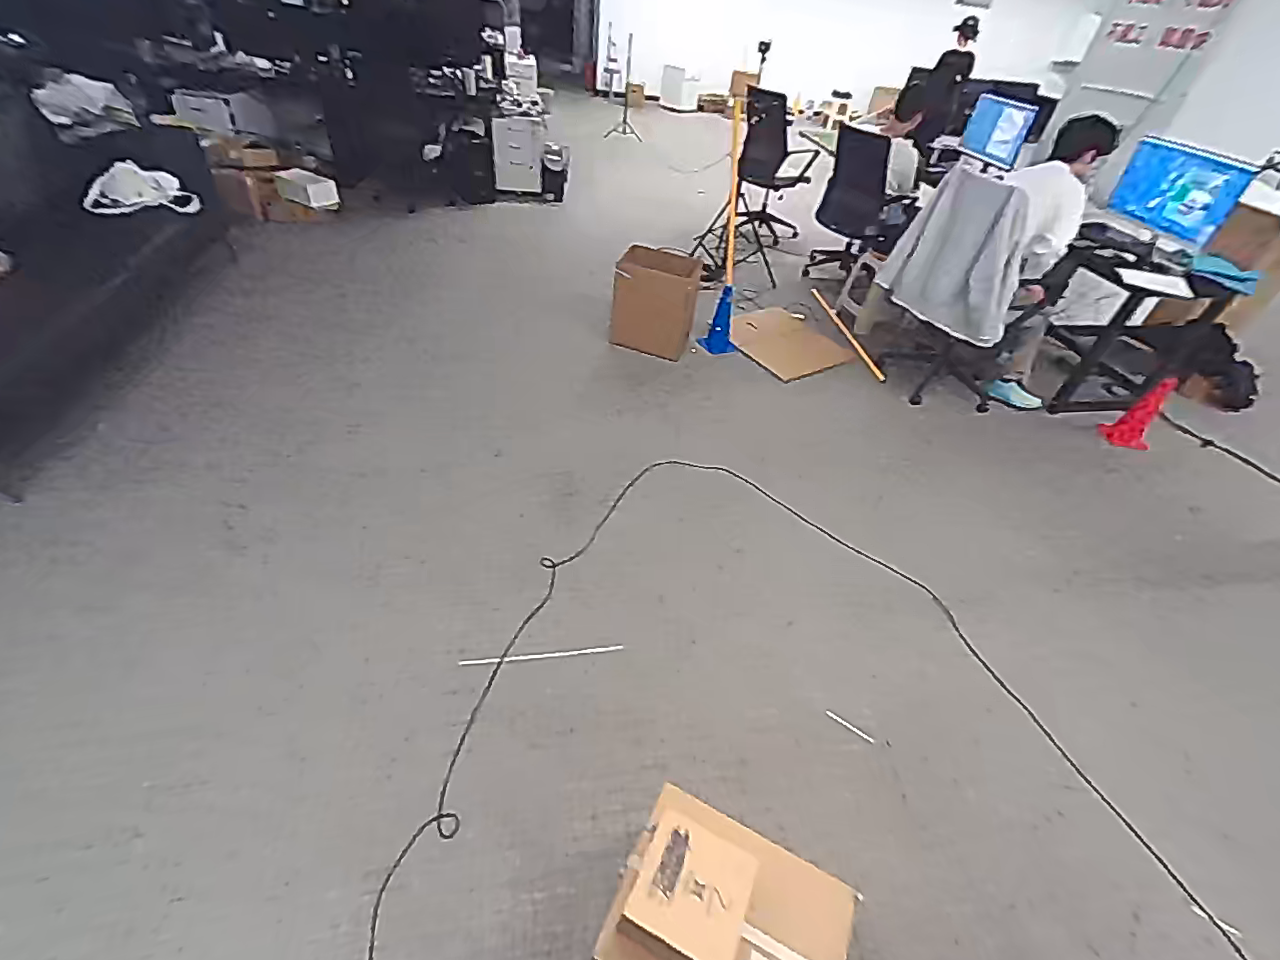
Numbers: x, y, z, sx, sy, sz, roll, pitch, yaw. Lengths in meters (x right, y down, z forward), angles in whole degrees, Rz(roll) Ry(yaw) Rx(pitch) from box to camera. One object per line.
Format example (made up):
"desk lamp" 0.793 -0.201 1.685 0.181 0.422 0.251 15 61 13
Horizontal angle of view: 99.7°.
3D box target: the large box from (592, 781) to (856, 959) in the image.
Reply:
"large box" 0.150 0.890 1.070 0.408 0.320 0.320 23 46 15
